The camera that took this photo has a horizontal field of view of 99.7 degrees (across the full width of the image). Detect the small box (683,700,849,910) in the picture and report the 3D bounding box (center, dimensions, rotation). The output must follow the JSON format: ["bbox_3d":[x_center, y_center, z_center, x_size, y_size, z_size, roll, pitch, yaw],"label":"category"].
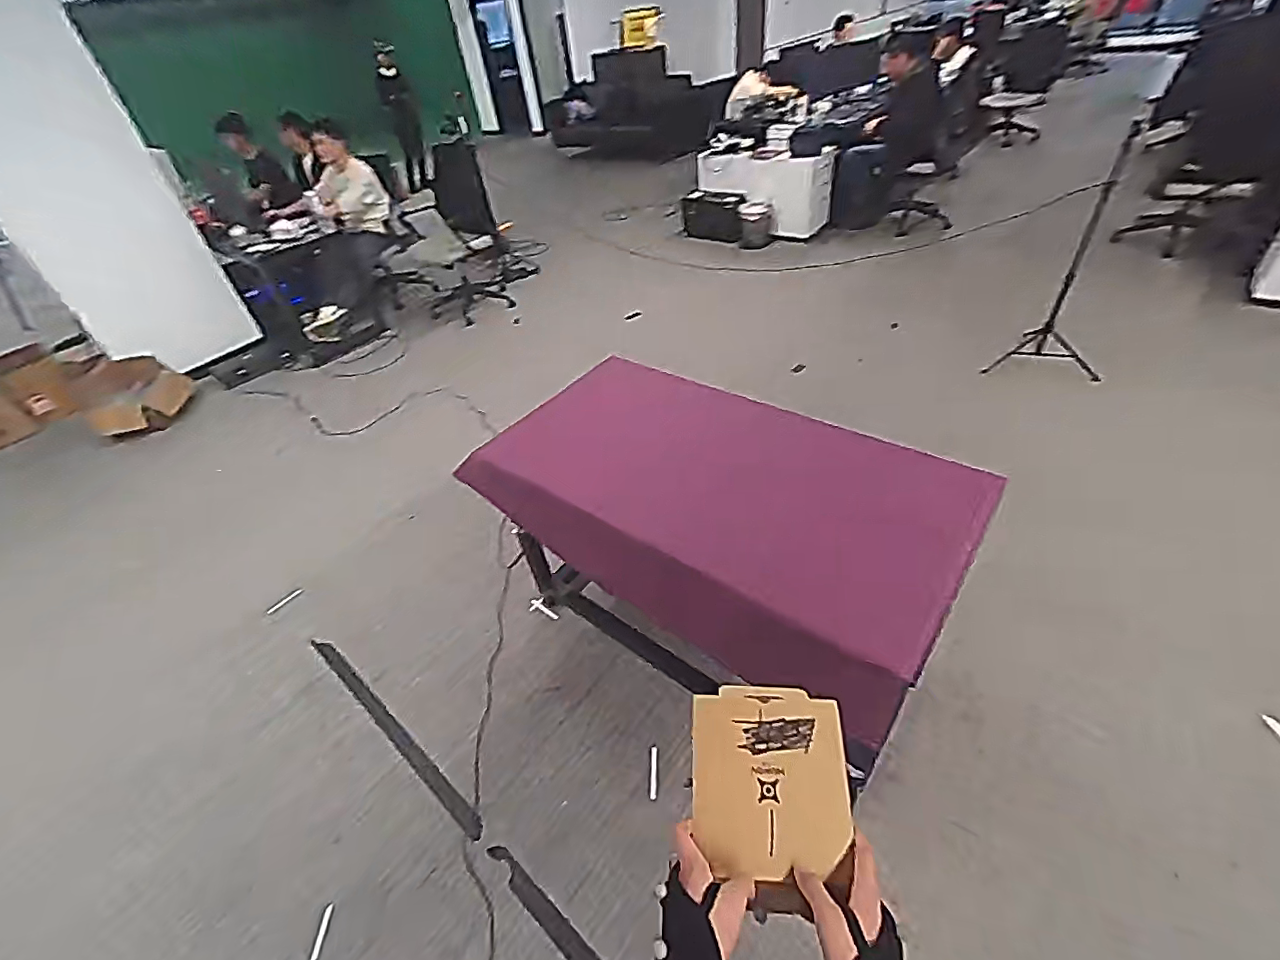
[{"bbox_3d":[0.136,0.390,0.655,0.168,0.176,0.179,-1,43,5],"label":"small box"}]
